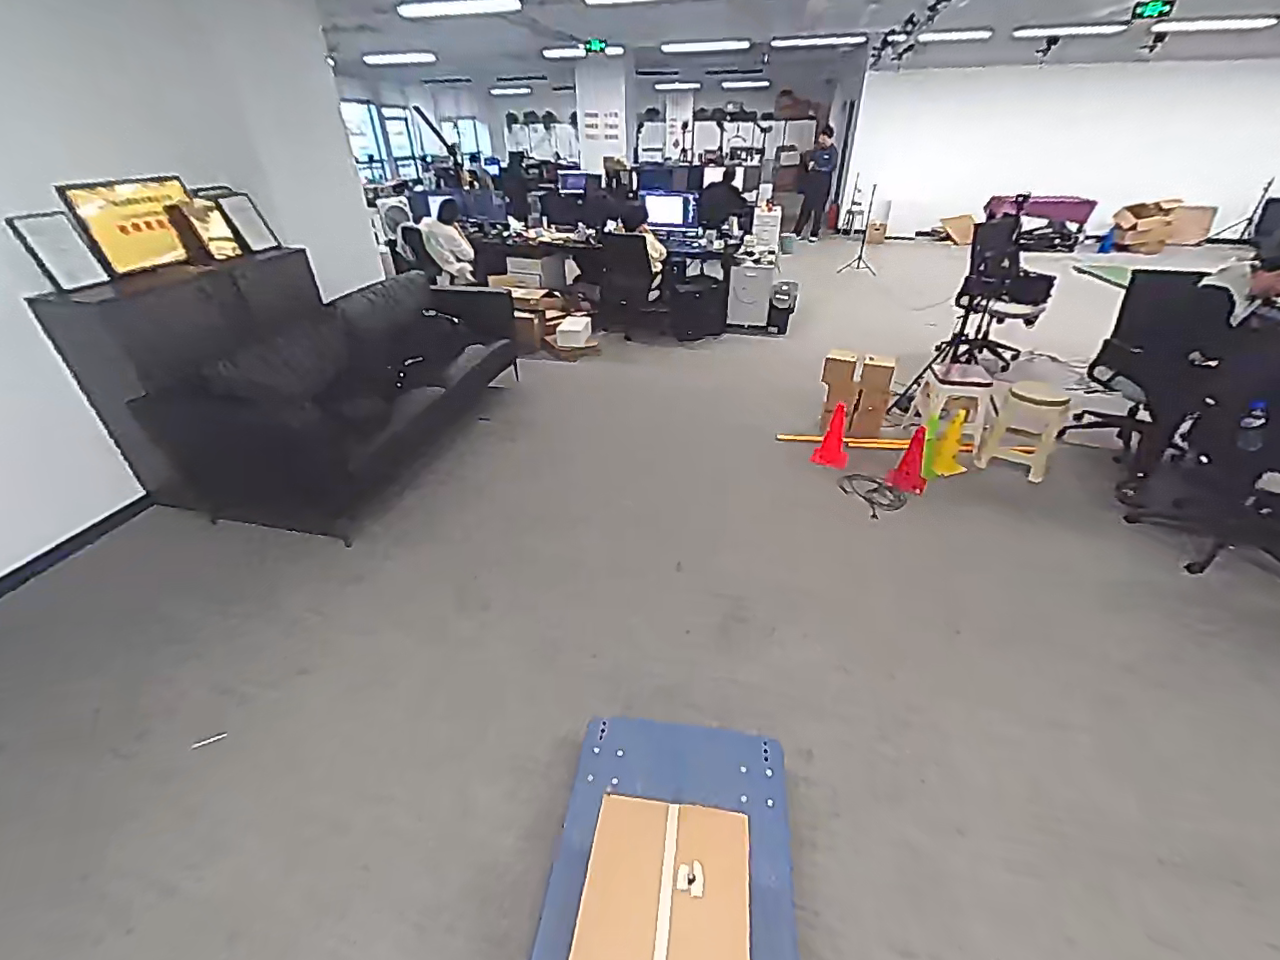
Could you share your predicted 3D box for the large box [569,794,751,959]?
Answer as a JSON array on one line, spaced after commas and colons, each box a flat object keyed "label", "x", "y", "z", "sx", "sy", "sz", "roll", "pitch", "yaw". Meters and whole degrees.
[{"label": "large box", "x": 0.048, "y": 0.920, "z": 1.065, "sx": 0.320, "sy": 0.320, "sz": 0.408, "roll": 4, "pitch": 32, "yaw": 8}]
